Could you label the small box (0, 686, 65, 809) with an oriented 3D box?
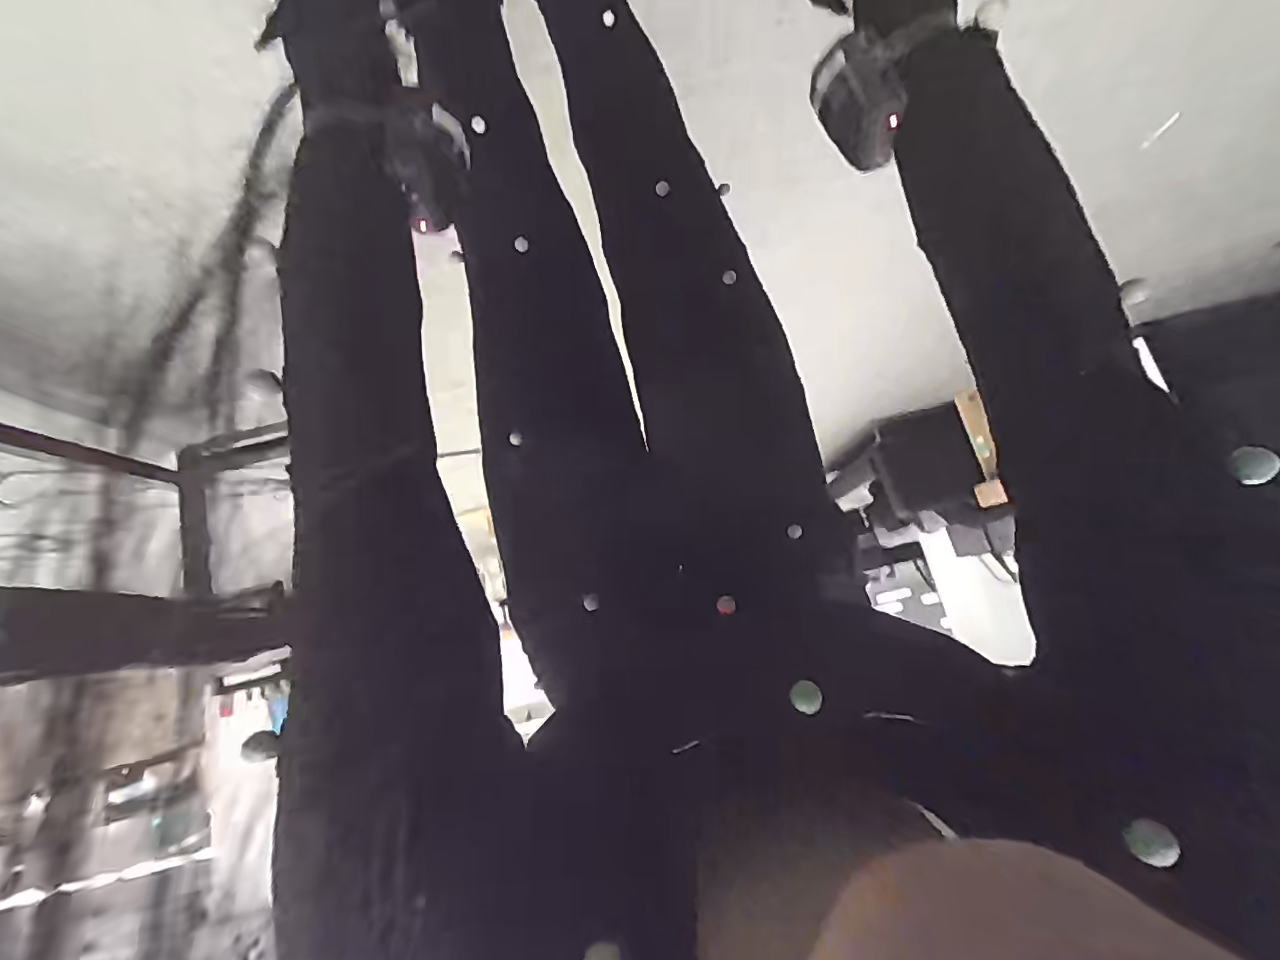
[{"bbox_3d":[-1.042,0.425,0.818,0.168,0.176,0.179,-14,167,1],"label":"small box"}]
